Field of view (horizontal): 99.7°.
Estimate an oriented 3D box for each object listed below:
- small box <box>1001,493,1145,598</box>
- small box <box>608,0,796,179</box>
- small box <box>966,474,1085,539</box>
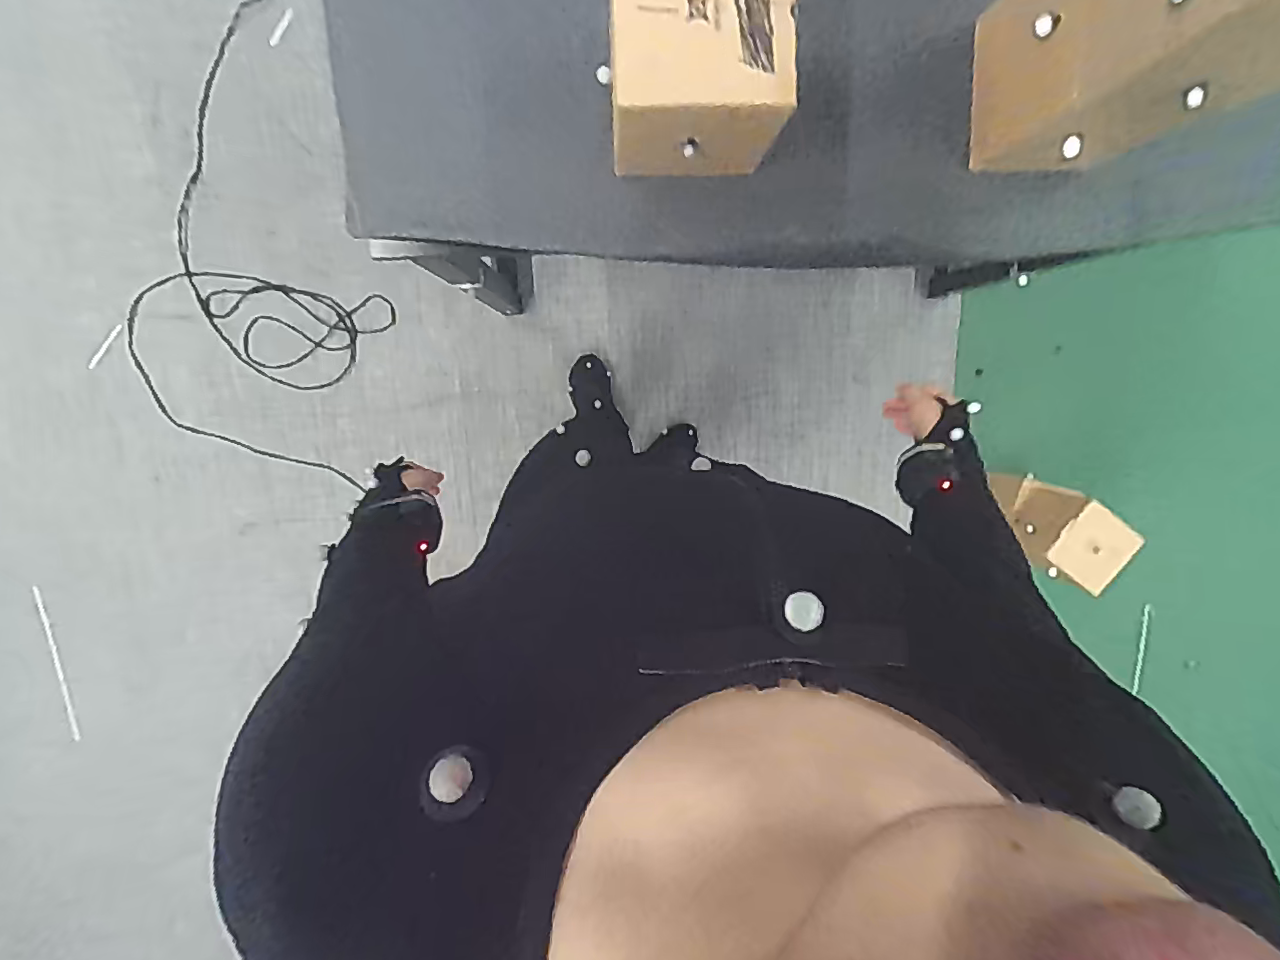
[{"bbox_3d":[1.032,0.147,1.307,0.179,0.176,0.168,34,98,-9],"label":"small box"},{"bbox_3d":[0.055,-0.441,0.579,0.179,0.176,0.168,-2,99,-2],"label":"small box"},{"bbox_3d":[1.029,0.087,1.462,0.179,0.176,0.168,14,100,-5],"label":"small box"}]
